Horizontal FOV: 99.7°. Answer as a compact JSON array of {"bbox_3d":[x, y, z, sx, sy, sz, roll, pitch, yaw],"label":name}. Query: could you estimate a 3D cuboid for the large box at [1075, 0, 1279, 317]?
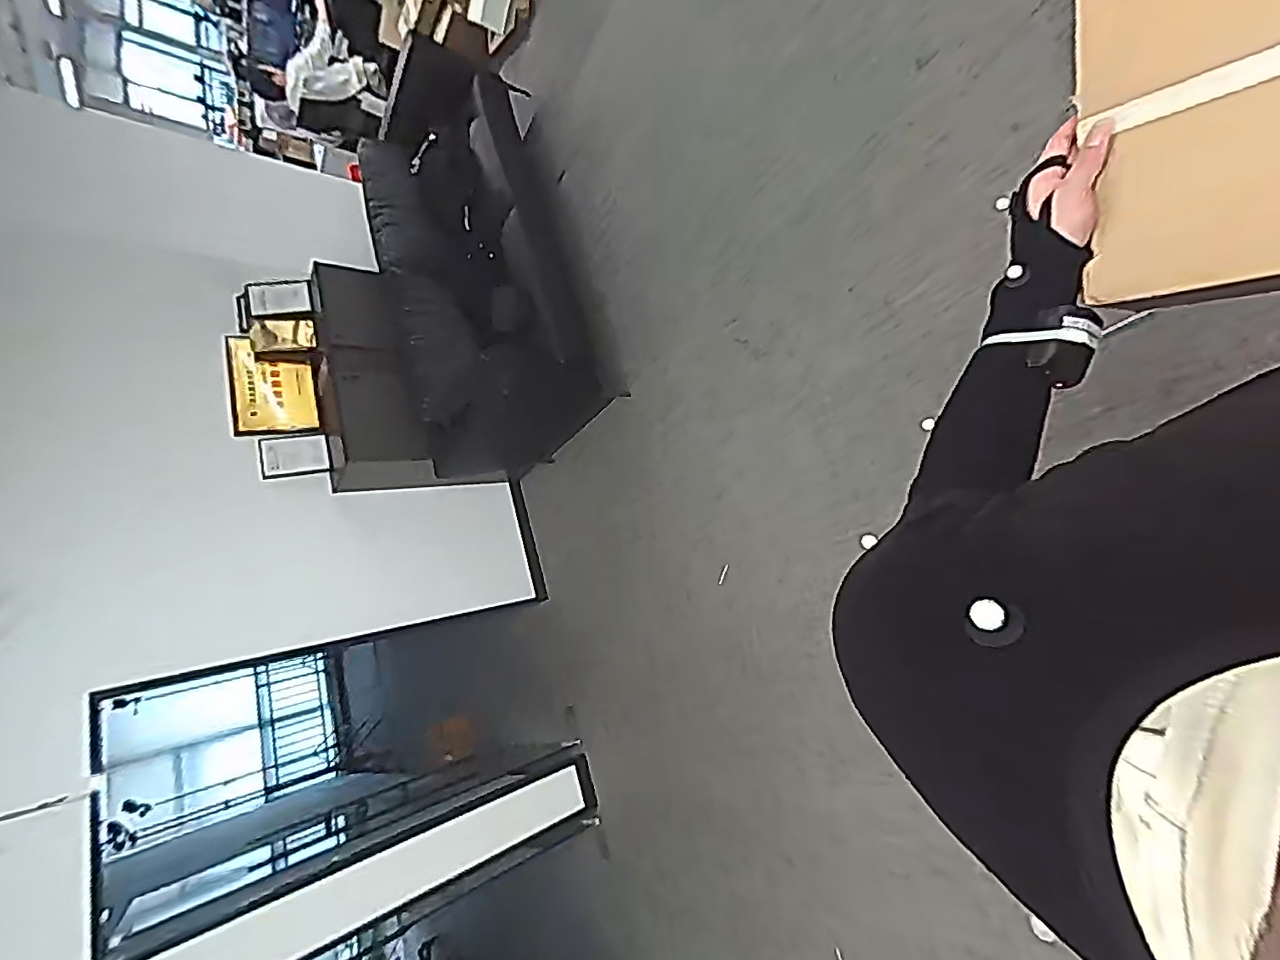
[{"bbox_3d":[0.656,-0.342,0.459,0.408,0.320,0.320,0,101,48],"label":"large box"}]
